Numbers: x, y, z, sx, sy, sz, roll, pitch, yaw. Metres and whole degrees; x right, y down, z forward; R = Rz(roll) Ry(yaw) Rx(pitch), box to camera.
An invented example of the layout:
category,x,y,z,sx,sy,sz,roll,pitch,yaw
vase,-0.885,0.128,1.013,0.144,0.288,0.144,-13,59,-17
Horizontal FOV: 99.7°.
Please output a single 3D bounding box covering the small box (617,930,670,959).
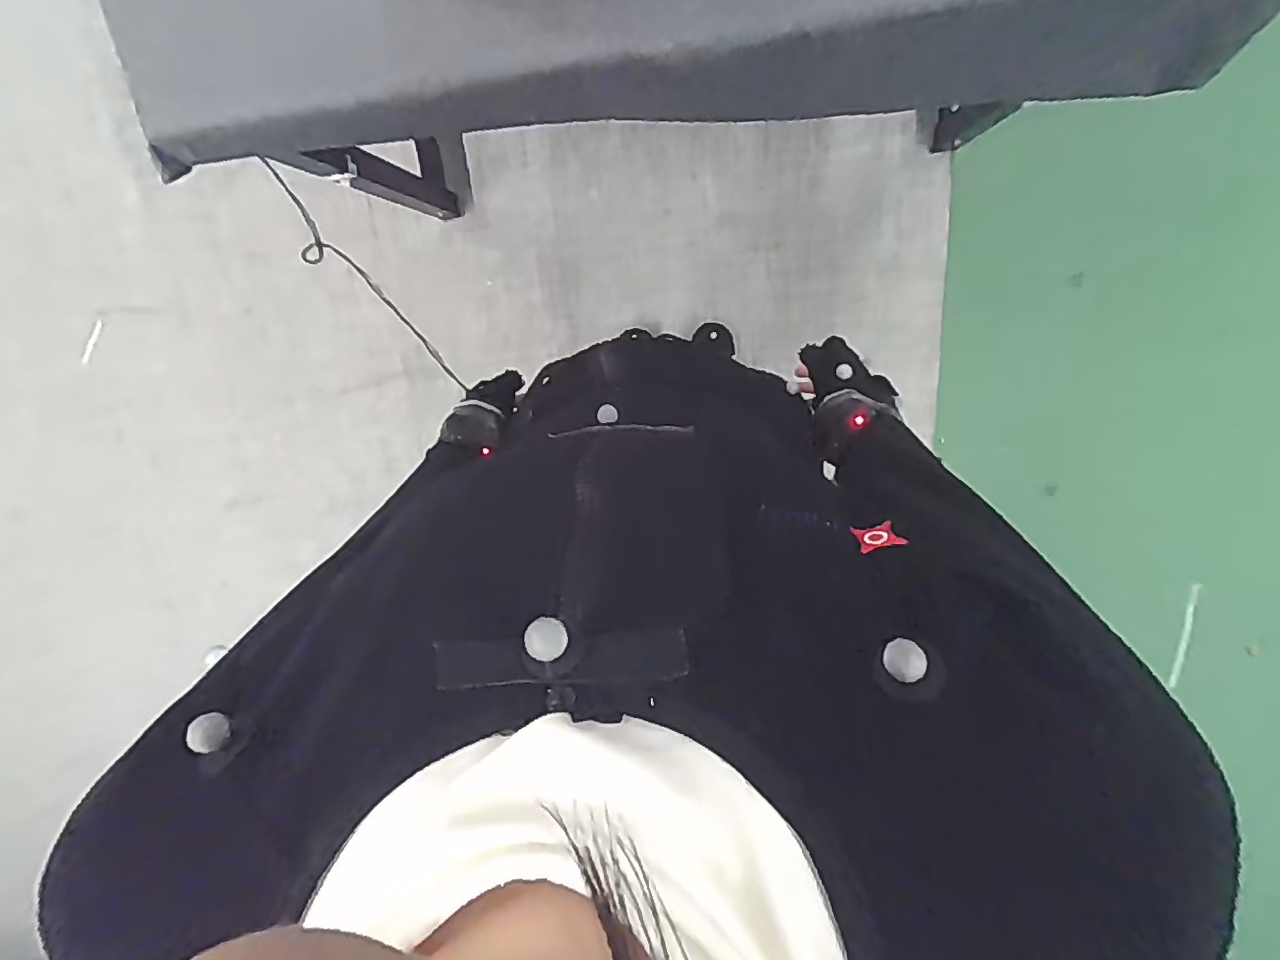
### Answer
category,x,y,z,sx,sy,sz,roll,pitch,yaw
small box,0.012,1.740,1.916,0.179,0.176,0.168,-4,107,5
